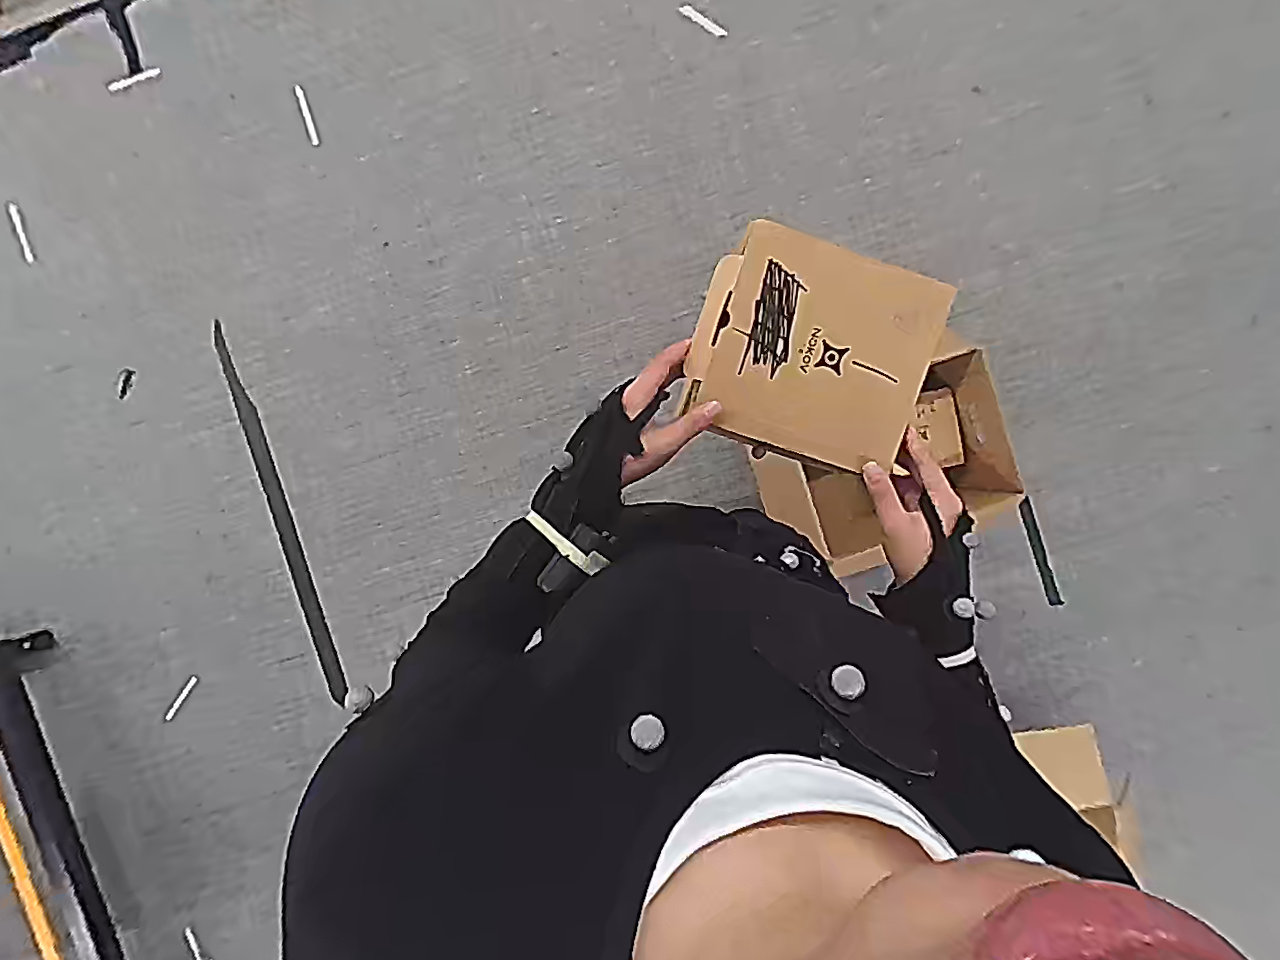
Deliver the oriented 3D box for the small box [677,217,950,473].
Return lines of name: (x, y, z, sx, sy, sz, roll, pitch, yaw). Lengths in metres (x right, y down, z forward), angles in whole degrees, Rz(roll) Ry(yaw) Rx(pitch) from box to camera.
small box: (0.142, -0.114, 0.517, 0.179, 0.176, 0.168, 18, 96, -3)
